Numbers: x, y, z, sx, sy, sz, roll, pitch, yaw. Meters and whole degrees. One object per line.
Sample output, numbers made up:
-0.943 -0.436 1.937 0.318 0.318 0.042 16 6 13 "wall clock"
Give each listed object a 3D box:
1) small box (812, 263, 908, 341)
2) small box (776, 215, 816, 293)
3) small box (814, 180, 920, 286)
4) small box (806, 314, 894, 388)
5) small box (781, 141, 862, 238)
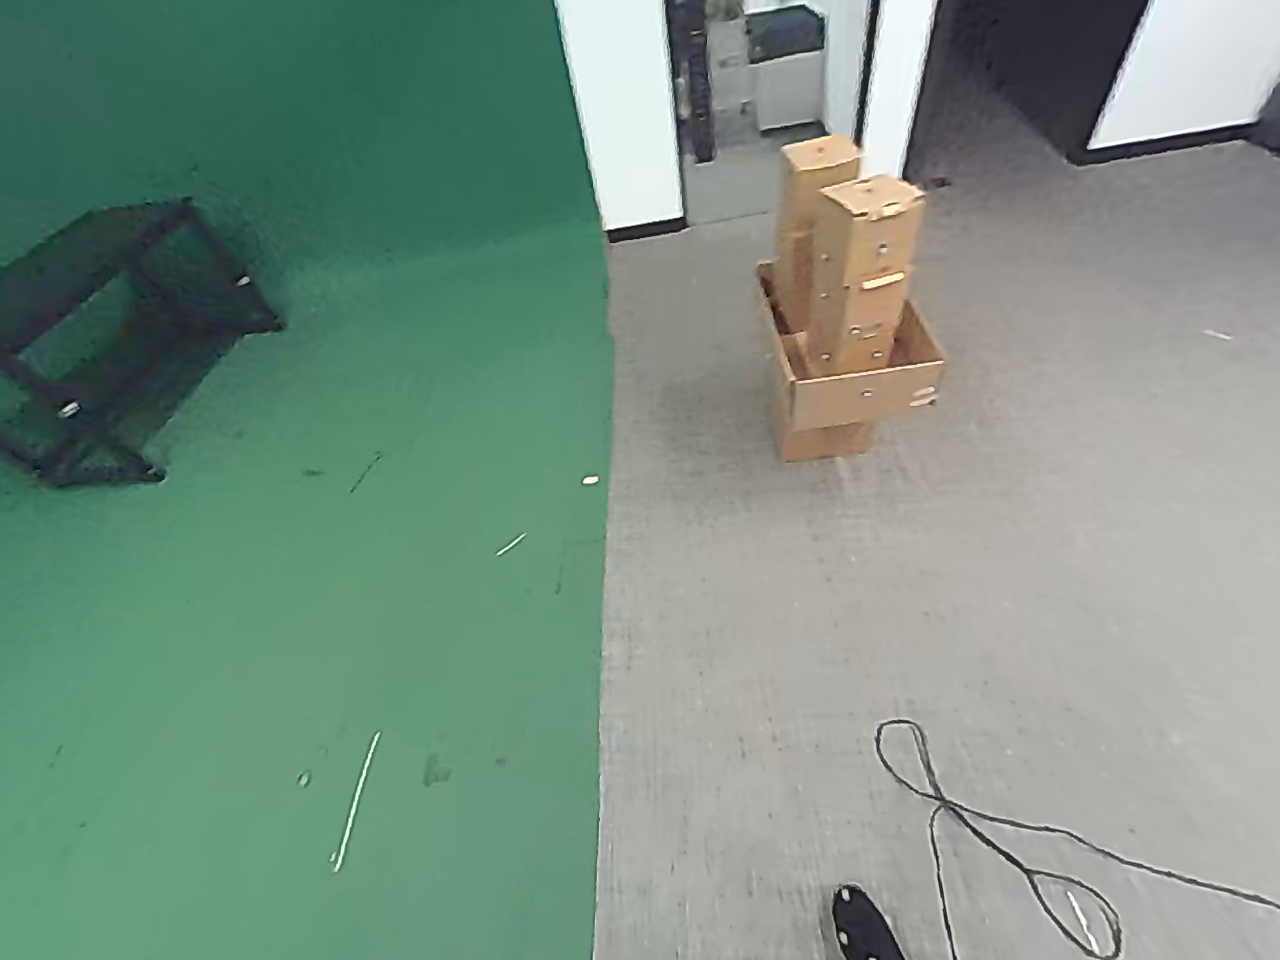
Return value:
0.573 -0.487 1.431 0.168 0.176 0.179 -17 48 -4 "small box"
0.511 -0.685 1.606 0.179 0.176 0.168 -12 50 4 "small box"
0.537 -0.588 1.306 0.168 0.176 0.179 -15 50 -3 "small box"
0.596 -0.385 1.557 0.168 0.176 0.179 -17 49 -3 "small box"
0.489 -0.797 1.487 0.168 0.176 0.179 -10 50 5 "small box"
